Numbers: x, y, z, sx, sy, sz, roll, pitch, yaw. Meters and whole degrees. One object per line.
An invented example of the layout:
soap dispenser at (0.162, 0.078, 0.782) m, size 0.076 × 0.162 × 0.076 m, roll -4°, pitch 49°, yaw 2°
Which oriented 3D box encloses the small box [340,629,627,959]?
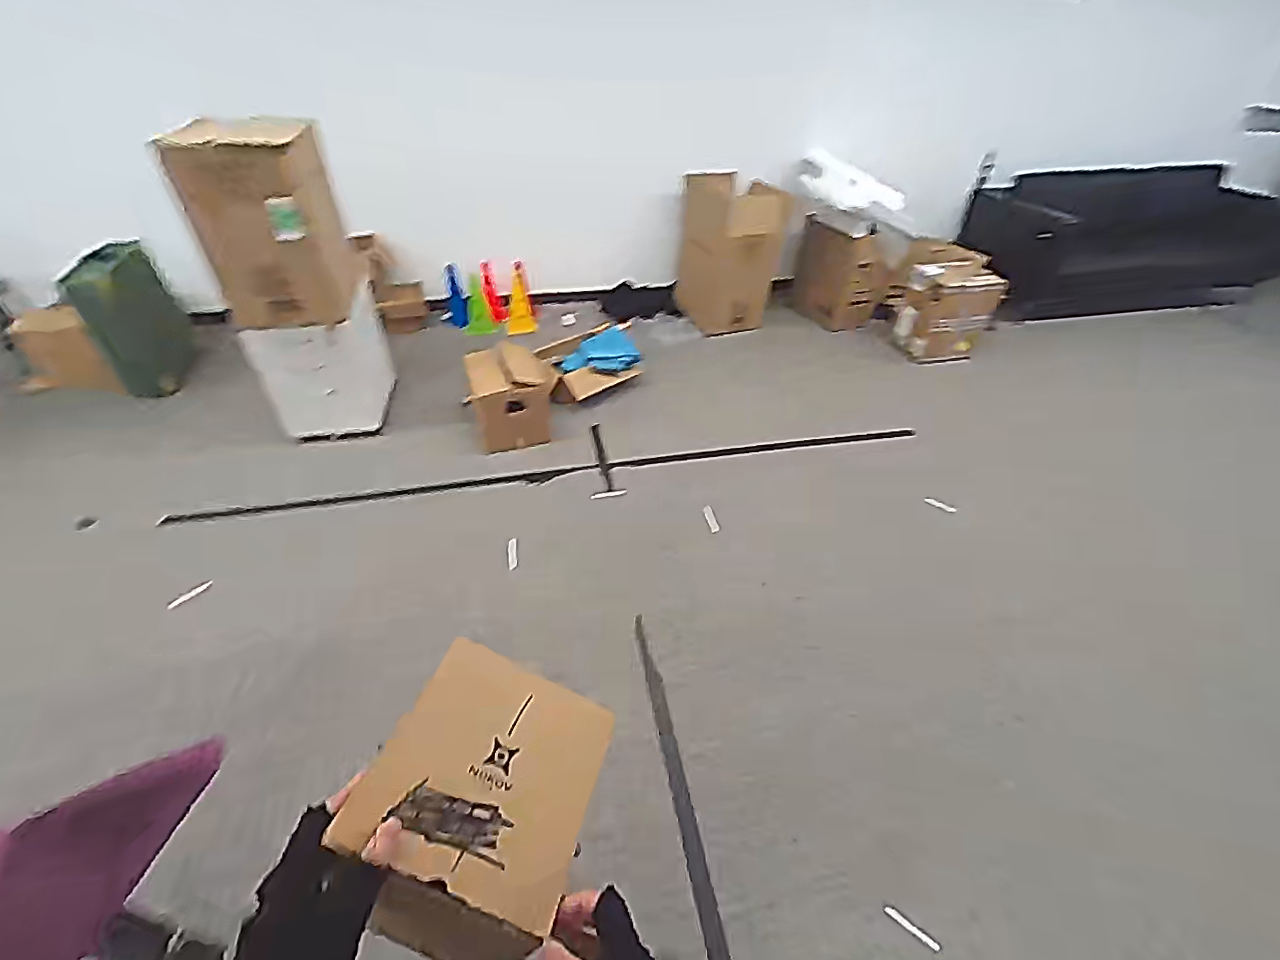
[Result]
small box at (-0.134, 0.276, 0.476) m, size 0.168 × 0.176 × 0.179 m, roll 27°, pitch 35°, yaw -1°
